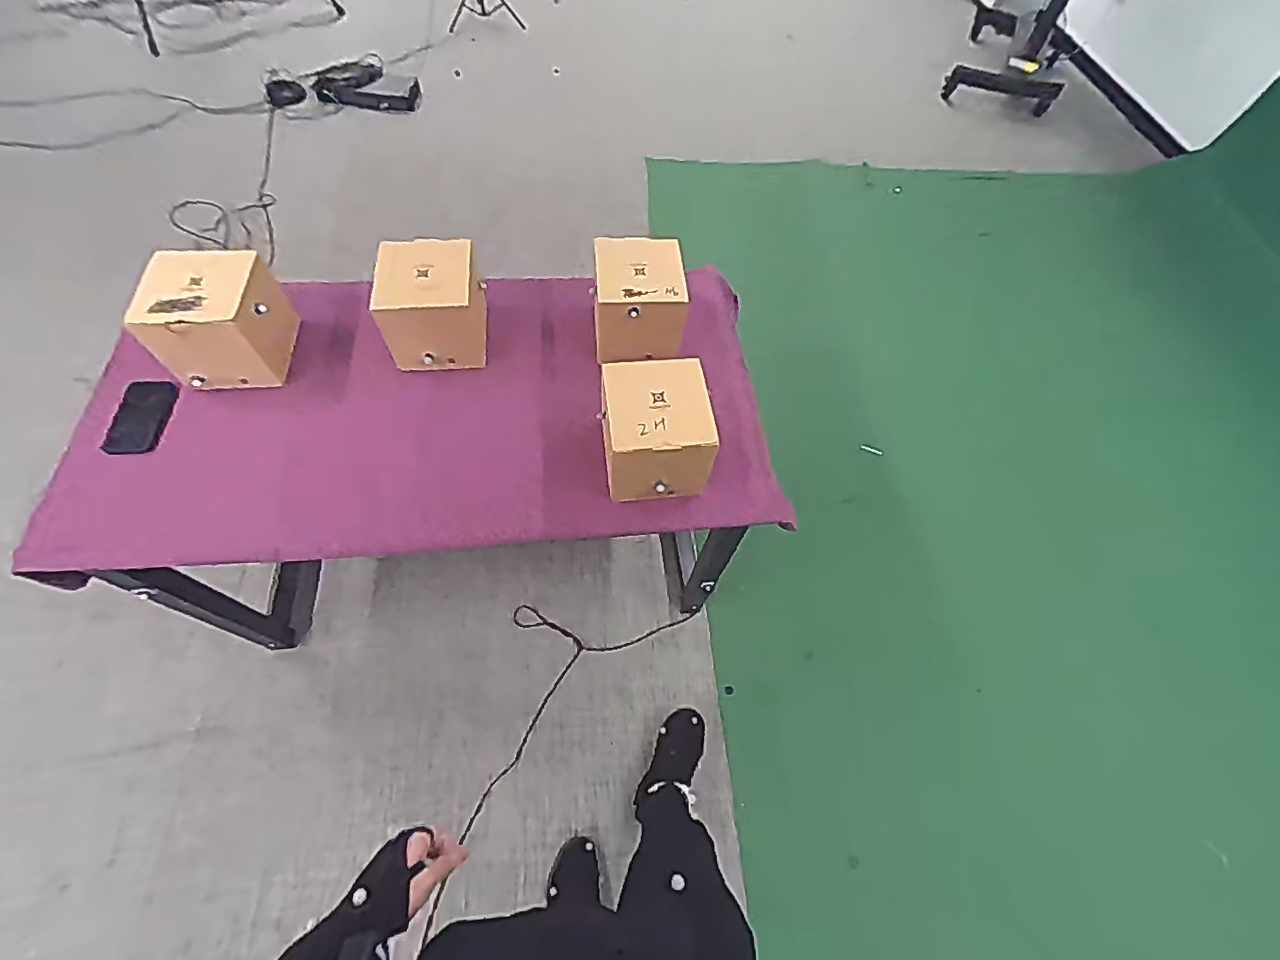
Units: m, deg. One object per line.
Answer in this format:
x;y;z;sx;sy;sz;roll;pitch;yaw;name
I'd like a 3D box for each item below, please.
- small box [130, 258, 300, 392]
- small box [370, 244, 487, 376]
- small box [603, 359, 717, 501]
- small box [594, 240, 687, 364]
-0.752;-0.274;0.982;0.168;0.176;0.179;-4;61;-7;small box
-0.393;-0.323;1.036;0.168;0.176;0.179;-5;62;-6;small box
0.024;-0.082;0.922;0.168;0.176;0.179;-5;62;-5;small box
-0.007;-0.349;1.075;0.168;0.176;0.179;-3;61;-5;small box
